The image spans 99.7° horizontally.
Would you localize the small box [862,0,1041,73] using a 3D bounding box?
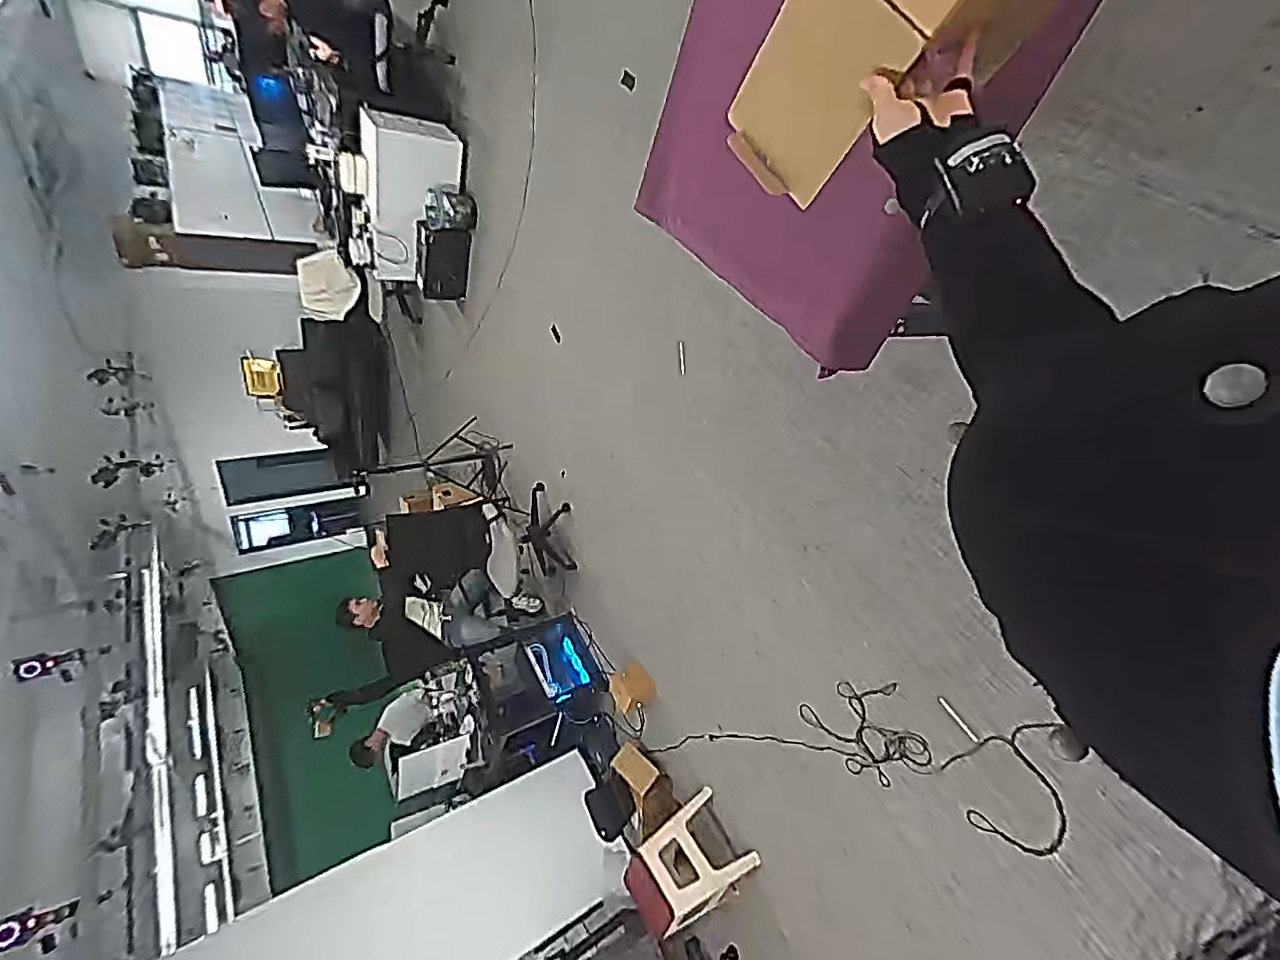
[{"bbox_3d":[0.304,-0.521,0.496,0.168,0.176,0.179,57,139,16],"label":"small box"}]
